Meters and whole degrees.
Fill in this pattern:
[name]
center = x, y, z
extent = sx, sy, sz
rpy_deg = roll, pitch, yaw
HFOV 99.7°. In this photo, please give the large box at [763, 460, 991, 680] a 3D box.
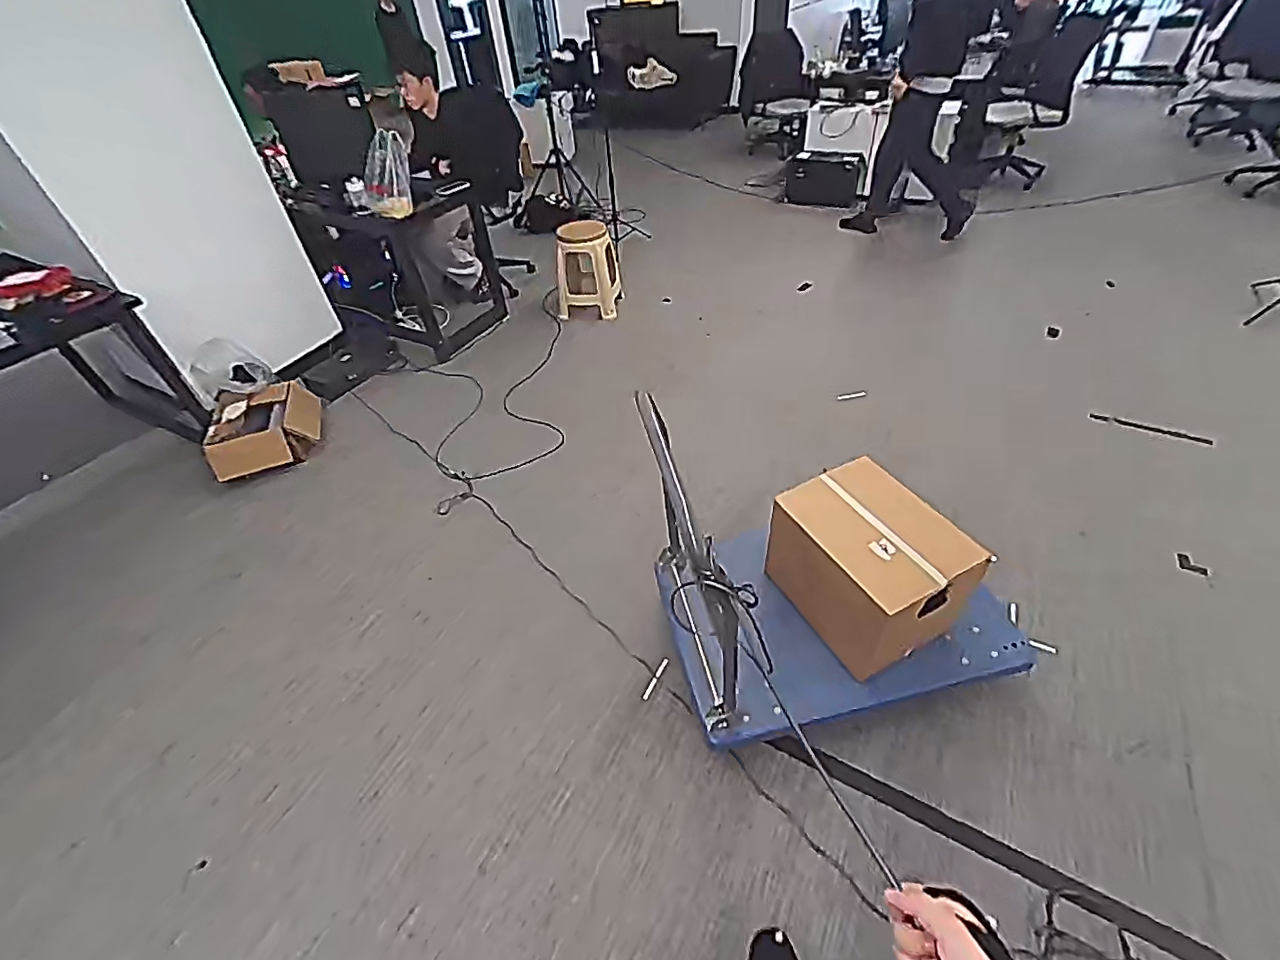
[large box]
center = 0.572, 0.221, 1.400
extent = 0.320, 0.320, 0.408
rpy_deg = -23, 48, -16
